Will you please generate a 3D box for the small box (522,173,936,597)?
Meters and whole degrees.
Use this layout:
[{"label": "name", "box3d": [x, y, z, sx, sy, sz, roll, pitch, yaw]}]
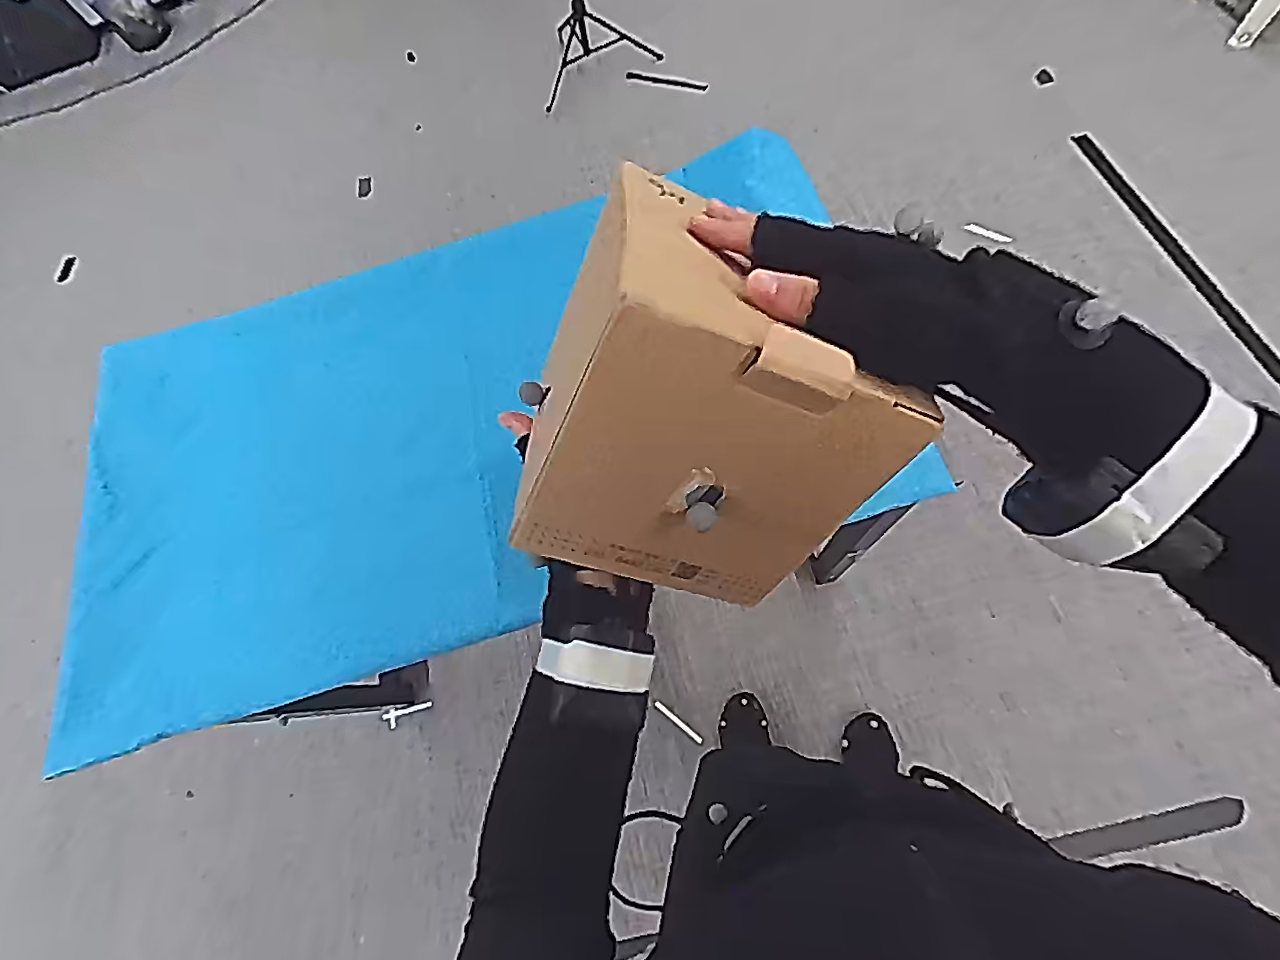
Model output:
[{"label": "small box", "box3d": [0.035, -0.052, 0.344, 0.168, 0.176, 0.179, 20, 40, -18]}]
